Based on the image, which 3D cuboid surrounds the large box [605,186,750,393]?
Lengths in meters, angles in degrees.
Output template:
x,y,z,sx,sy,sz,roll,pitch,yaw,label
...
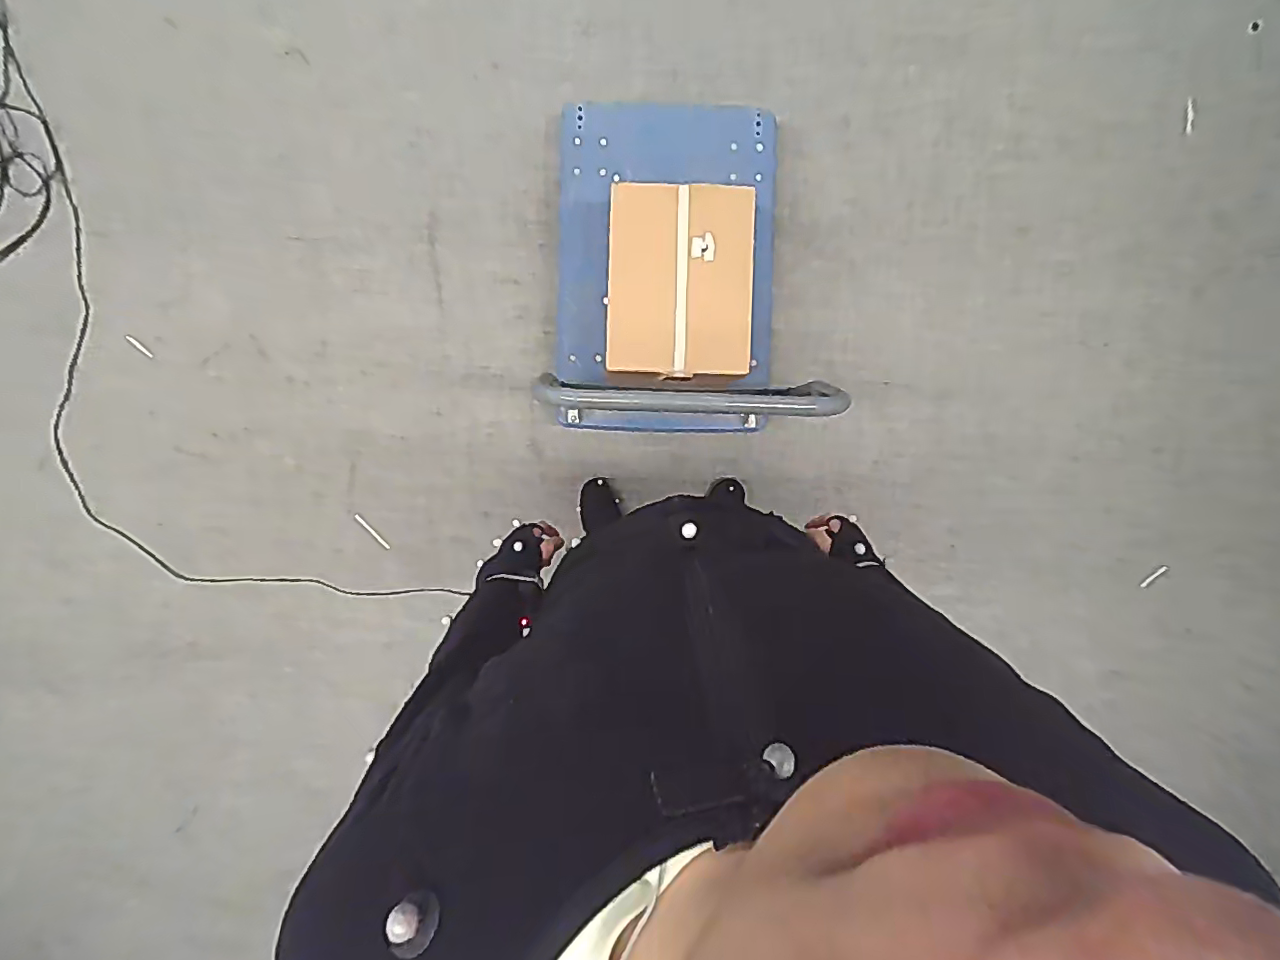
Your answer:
x,y,z,sx,sy,sz,roll,pitch,yaw,label
0.081,-0.431,1.313,0.320,0.320,0.408,2,90,-2,large box
